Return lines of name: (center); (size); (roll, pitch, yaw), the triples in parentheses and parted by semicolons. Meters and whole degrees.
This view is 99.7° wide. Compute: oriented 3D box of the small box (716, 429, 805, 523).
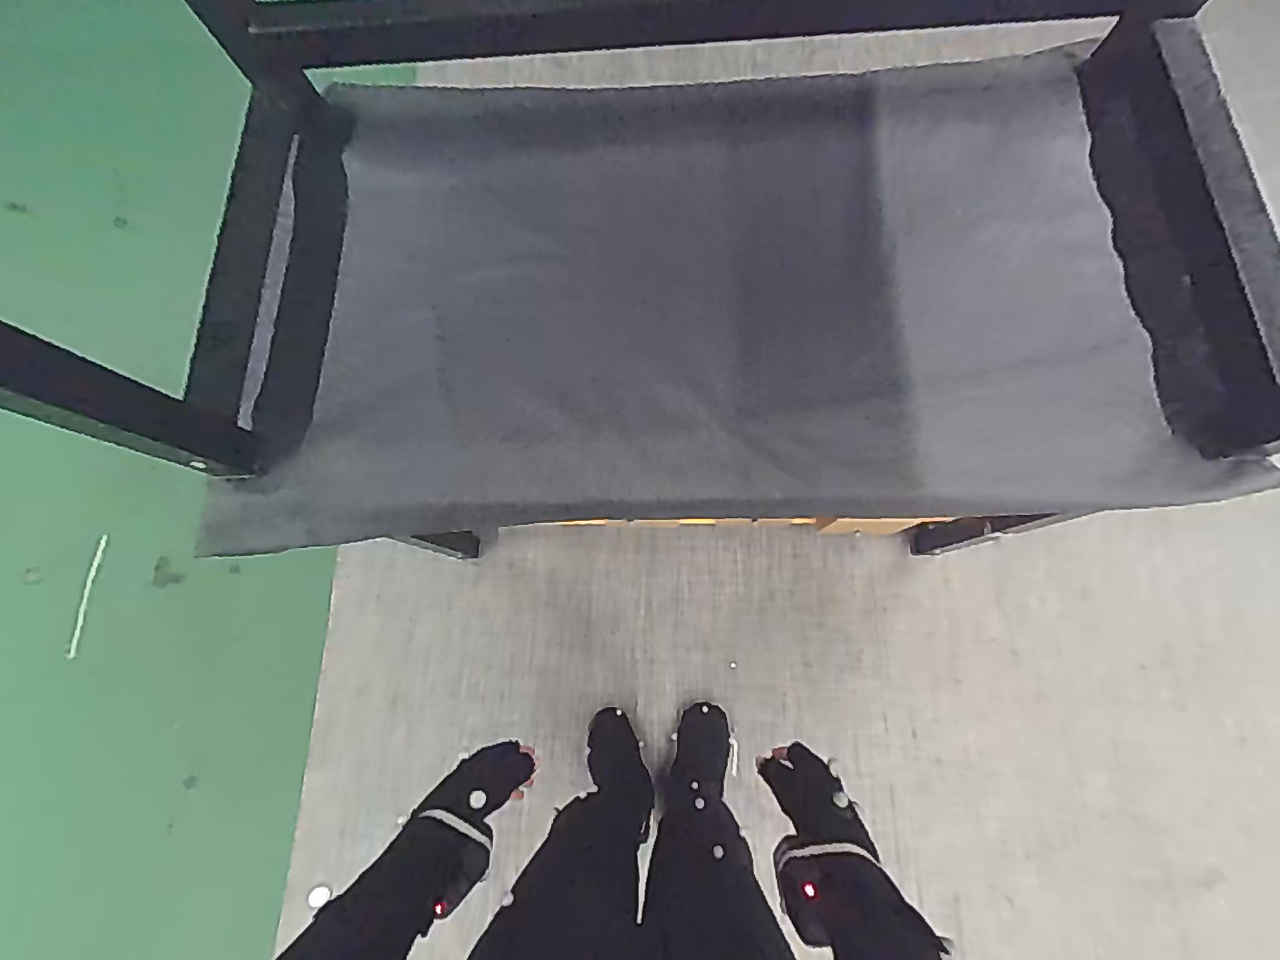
small box: (0.254, -0.002, 1.172); (0.168, 0.176, 0.179); (-1, 76, 3)

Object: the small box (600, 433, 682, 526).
small box: (0.008, 0.005, 1.187); (0.168, 0.176, 0.179); (1, 76, 3)
